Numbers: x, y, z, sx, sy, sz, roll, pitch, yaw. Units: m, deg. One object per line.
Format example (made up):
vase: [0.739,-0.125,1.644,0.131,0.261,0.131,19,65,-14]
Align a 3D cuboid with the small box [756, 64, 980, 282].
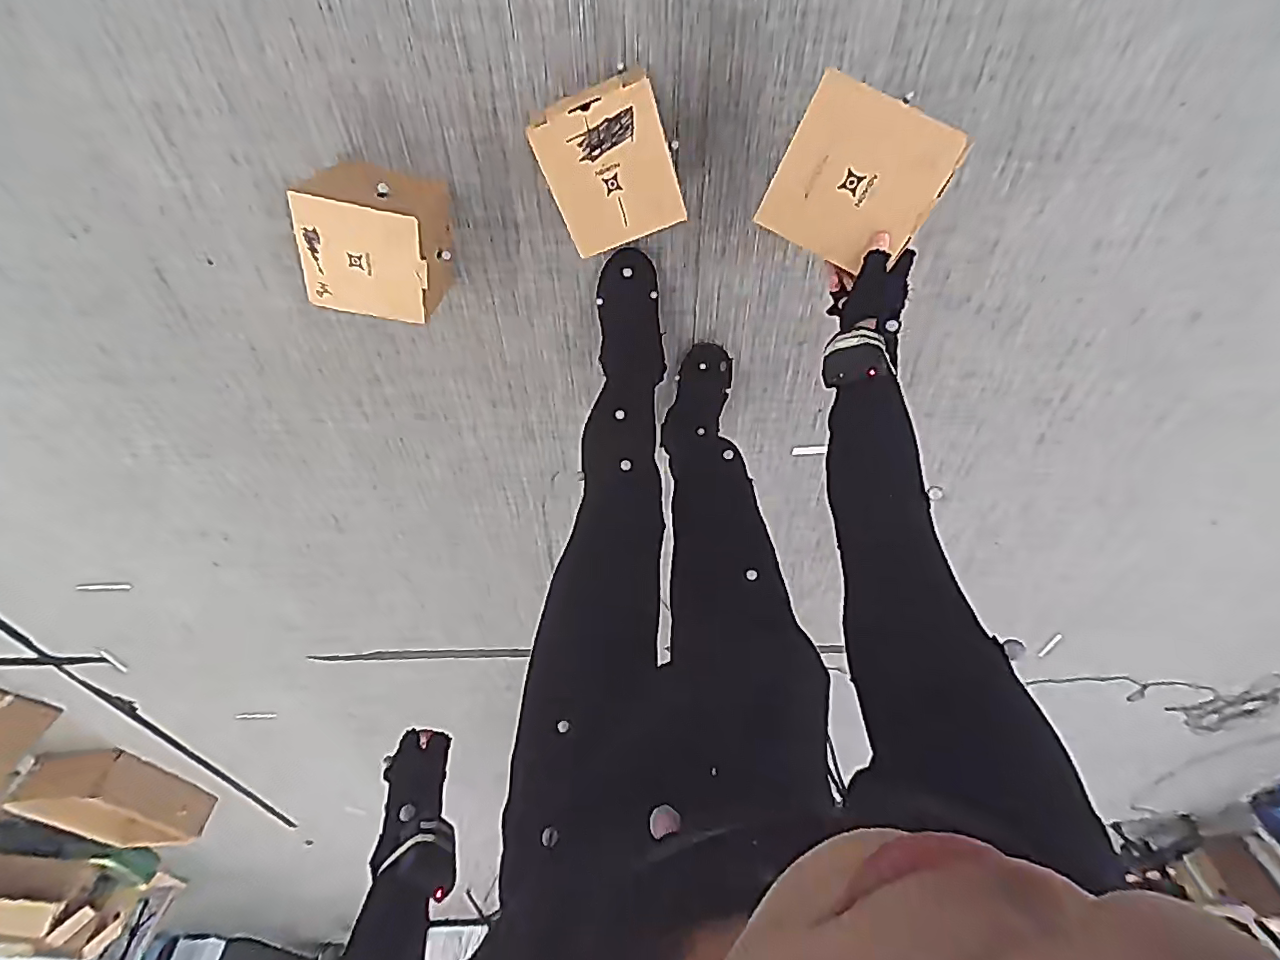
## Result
small box: [0.267,-0.371,0.663,0.179,0.176,0.168,28,125,3]

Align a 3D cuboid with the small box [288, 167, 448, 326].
small box: [-0.403,-0.366,0.842,0.179,0.176,0.168,8,131,-9]

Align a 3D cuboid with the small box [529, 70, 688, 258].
small box: [-0.040,-0.454,0.771,0.168,0.176,0.179,-16,131,12]
